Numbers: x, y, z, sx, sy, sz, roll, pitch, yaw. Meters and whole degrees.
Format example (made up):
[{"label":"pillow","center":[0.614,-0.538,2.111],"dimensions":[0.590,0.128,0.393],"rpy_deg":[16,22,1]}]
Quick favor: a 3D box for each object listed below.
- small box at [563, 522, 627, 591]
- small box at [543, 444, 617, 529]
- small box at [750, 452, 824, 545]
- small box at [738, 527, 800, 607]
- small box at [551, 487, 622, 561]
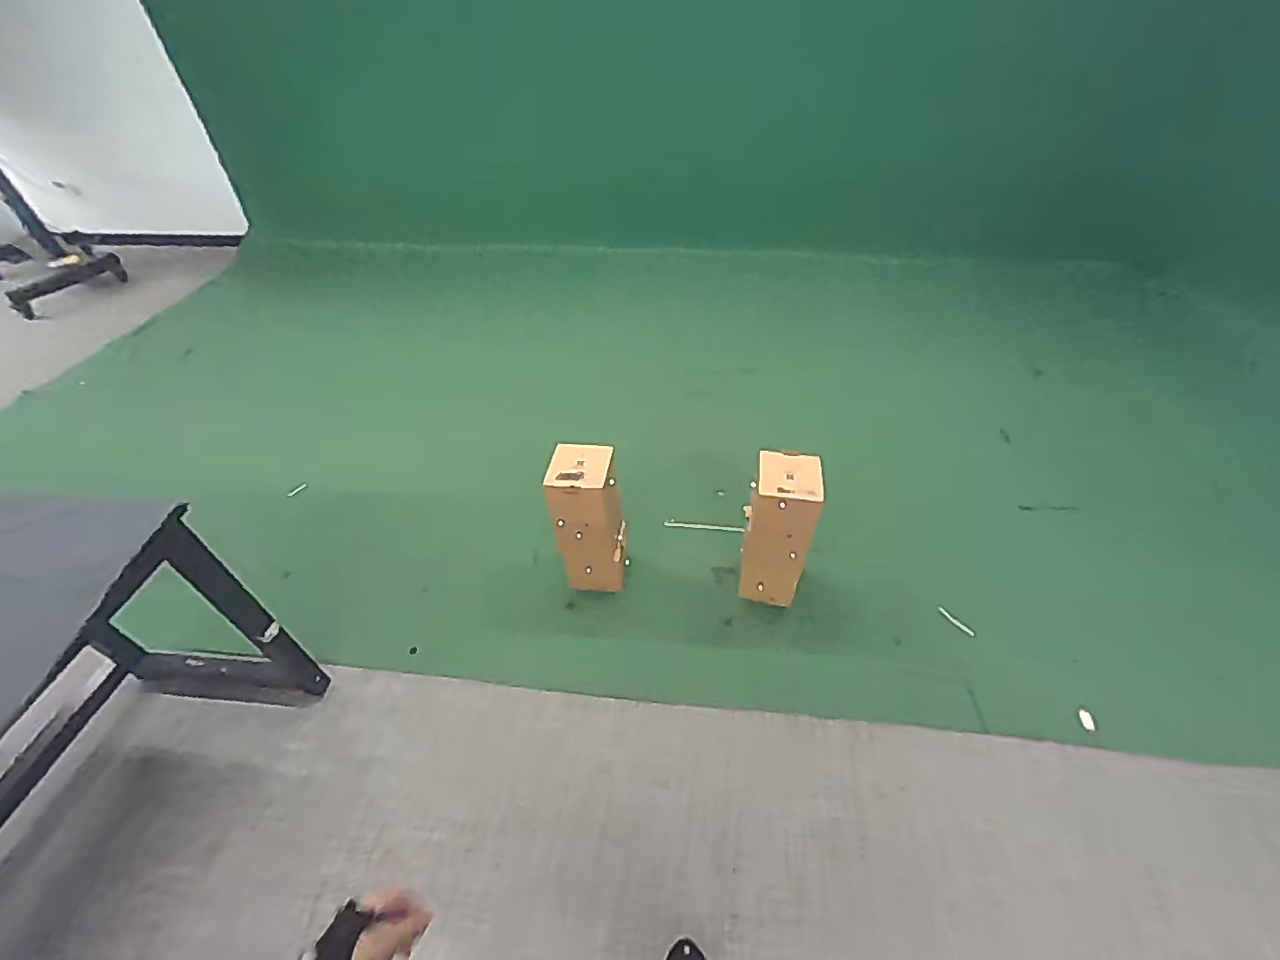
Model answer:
[{"label":"small box","center":[-0.141,0.245,1.763],"dimensions":[0.179,0.176,0.168],"rpy_deg":[4,46,5]},{"label":"small box","center":[-0.160,0.021,1.527],"dimensions":[0.168,0.176,0.179],"rpy_deg":[4,45,7]},{"label":"small box","center":[0.399,0.050,1.485],"dimensions":[0.168,0.176,0.179],"rpy_deg":[7,44,7]},{"label":"small box","center":[0.411,0.278,1.721],"dimensions":[0.168,0.176,0.179],"rpy_deg":[10,45,11]},{"label":"small box","center":[-0.156,0.129,1.650],"dimensions":[0.179,0.176,0.168],"rpy_deg":[5,46,6]}]
